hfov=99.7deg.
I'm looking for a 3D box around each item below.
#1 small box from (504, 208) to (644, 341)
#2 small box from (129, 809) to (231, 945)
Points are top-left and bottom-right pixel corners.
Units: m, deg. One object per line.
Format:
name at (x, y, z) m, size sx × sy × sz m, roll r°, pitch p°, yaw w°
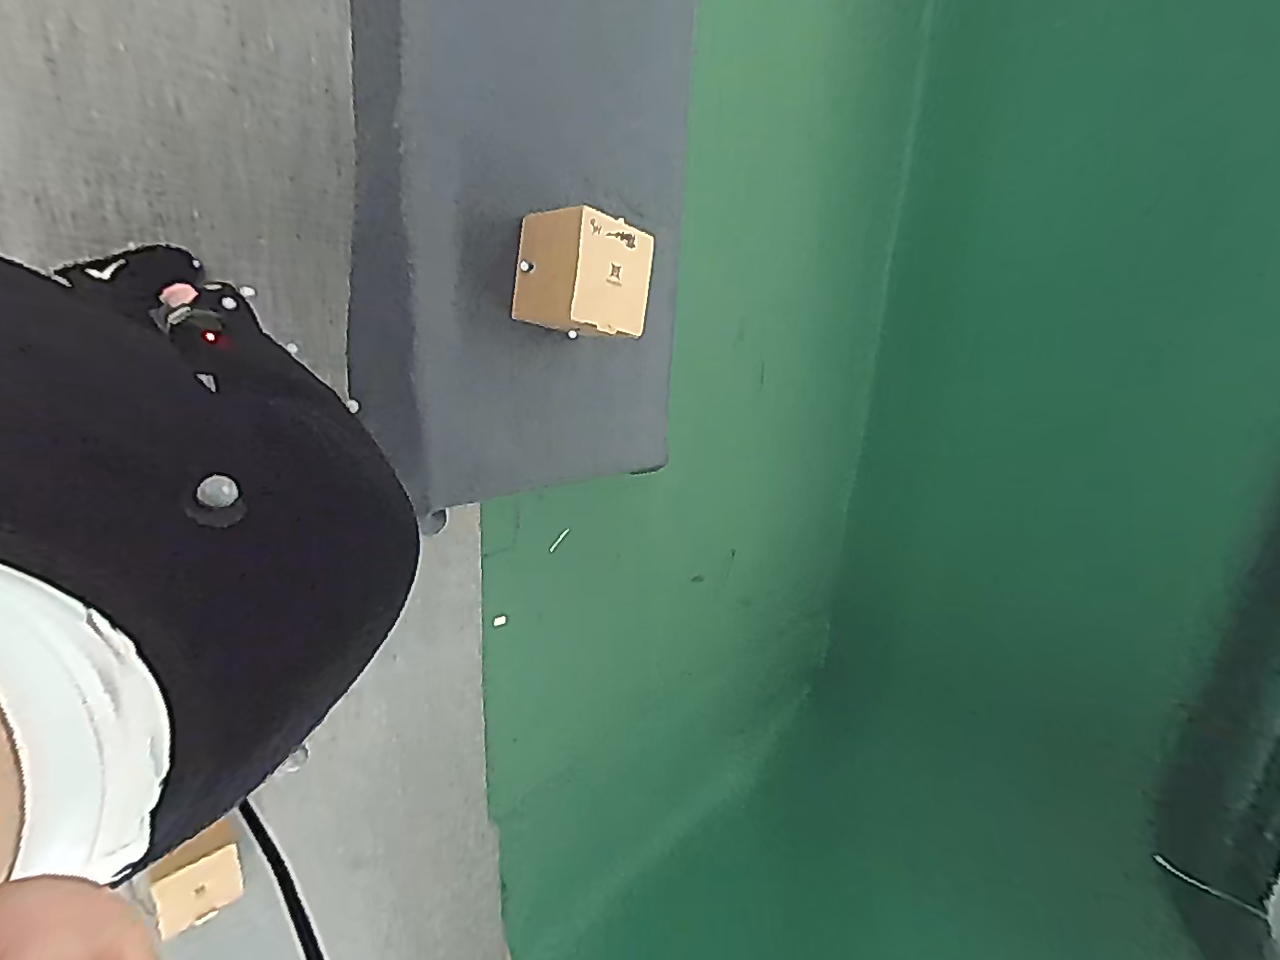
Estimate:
small box at (-0.121, -0.354, 0.955) m, size 0.168 × 0.176 × 0.179 m, roll -1°, pitch 104°, yaw -48°
small box at (-1.154, 0.983, 1.358) m, size 0.168 × 0.176 × 0.179 m, roll -11°, pitch 111°, yaw -48°
